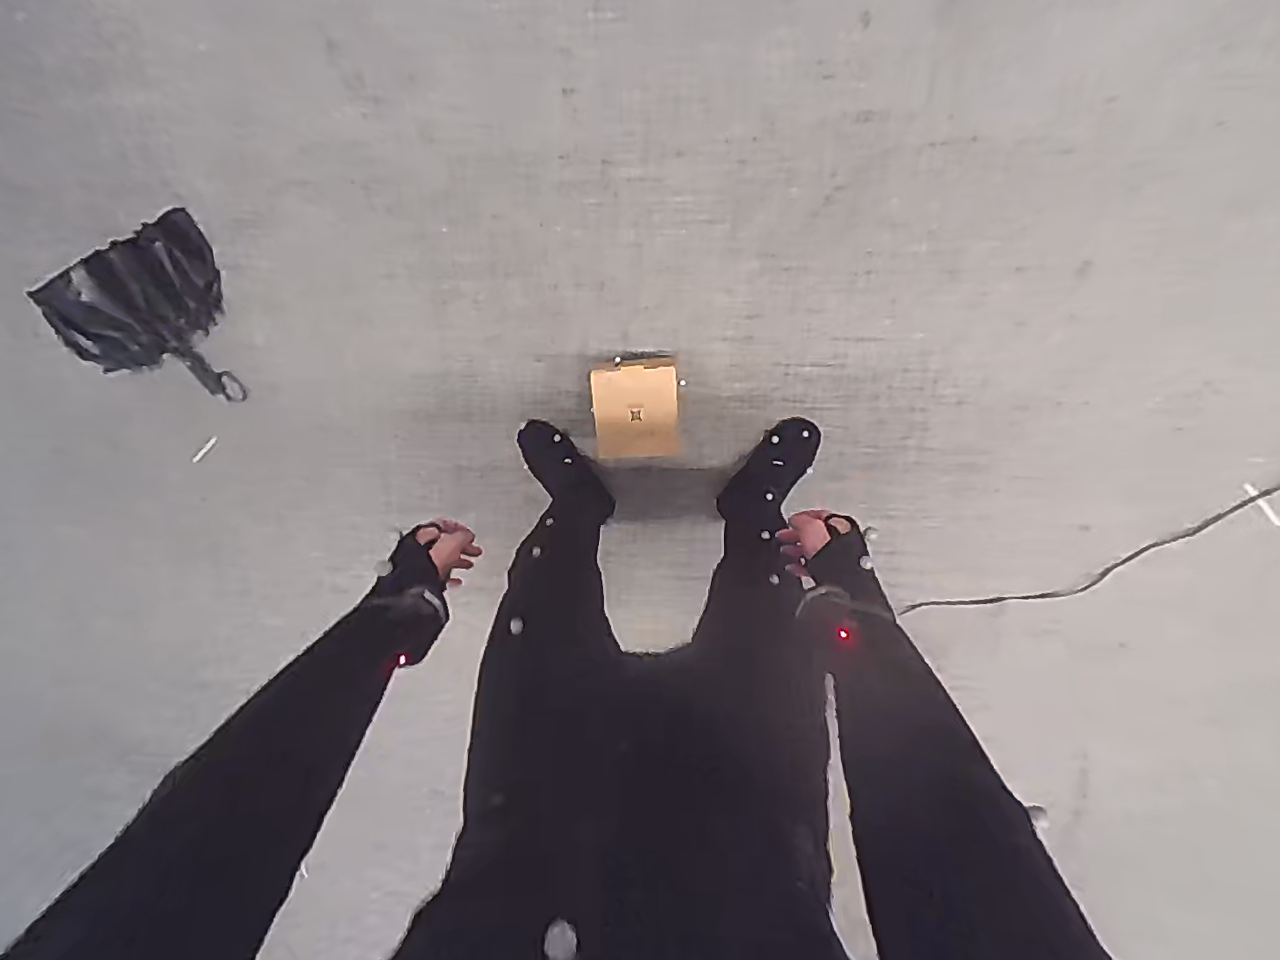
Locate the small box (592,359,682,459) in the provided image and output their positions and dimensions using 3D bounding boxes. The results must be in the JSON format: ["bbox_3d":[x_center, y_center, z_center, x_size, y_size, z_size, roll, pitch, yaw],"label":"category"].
[{"bbox_3d":[0.000,-0.154,1.122,0.168,0.176,0.179,-2,110,7],"label":"small box"}]
